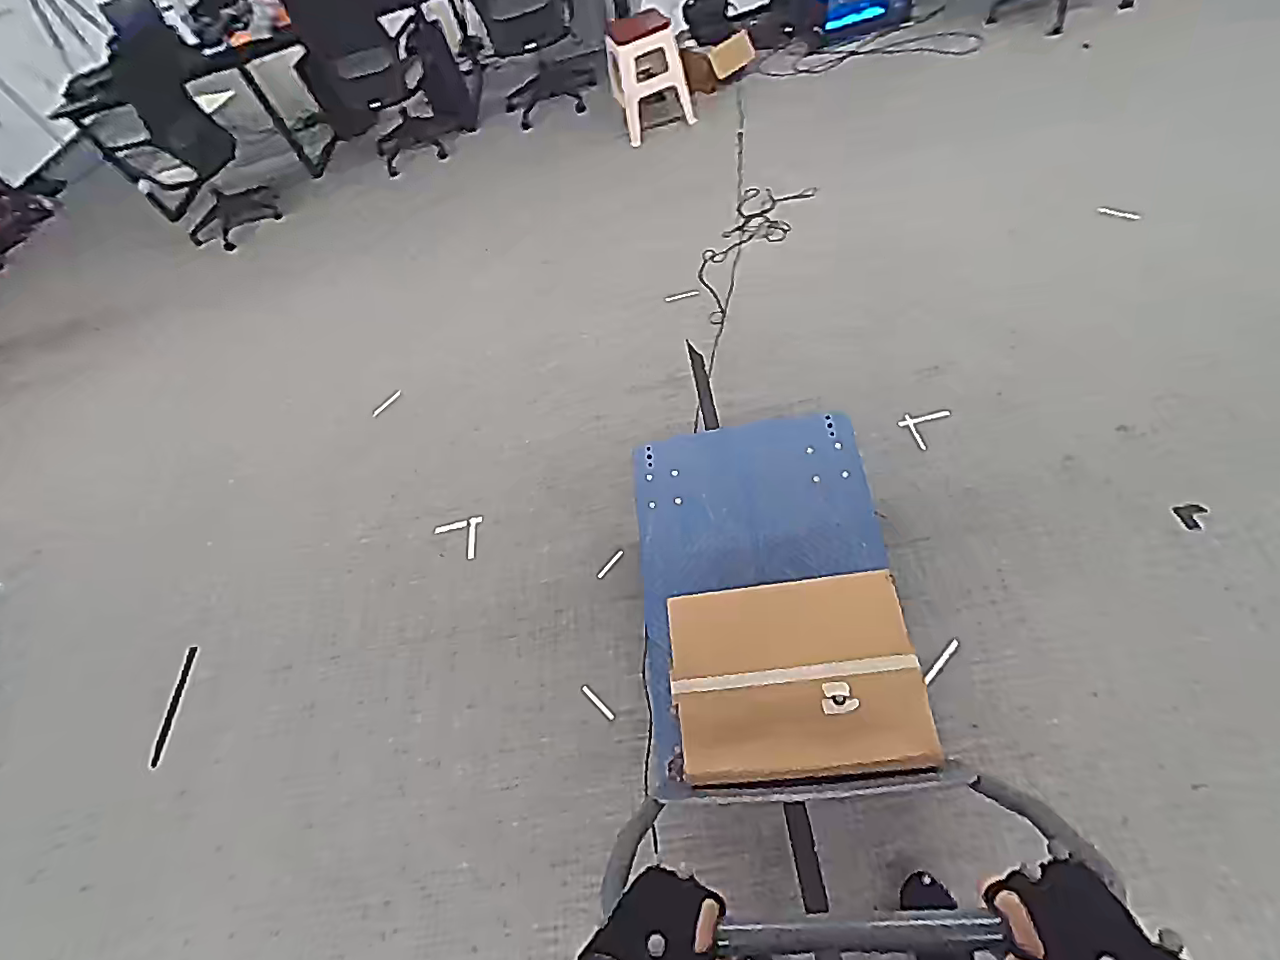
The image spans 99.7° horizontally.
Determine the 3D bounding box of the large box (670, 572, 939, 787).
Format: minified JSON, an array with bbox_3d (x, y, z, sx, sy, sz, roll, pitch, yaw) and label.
[{"bbox_3d":[0.292,0.398,1.070,0.408,0.320,0.320,-10,66,8],"label":"large box"}]
